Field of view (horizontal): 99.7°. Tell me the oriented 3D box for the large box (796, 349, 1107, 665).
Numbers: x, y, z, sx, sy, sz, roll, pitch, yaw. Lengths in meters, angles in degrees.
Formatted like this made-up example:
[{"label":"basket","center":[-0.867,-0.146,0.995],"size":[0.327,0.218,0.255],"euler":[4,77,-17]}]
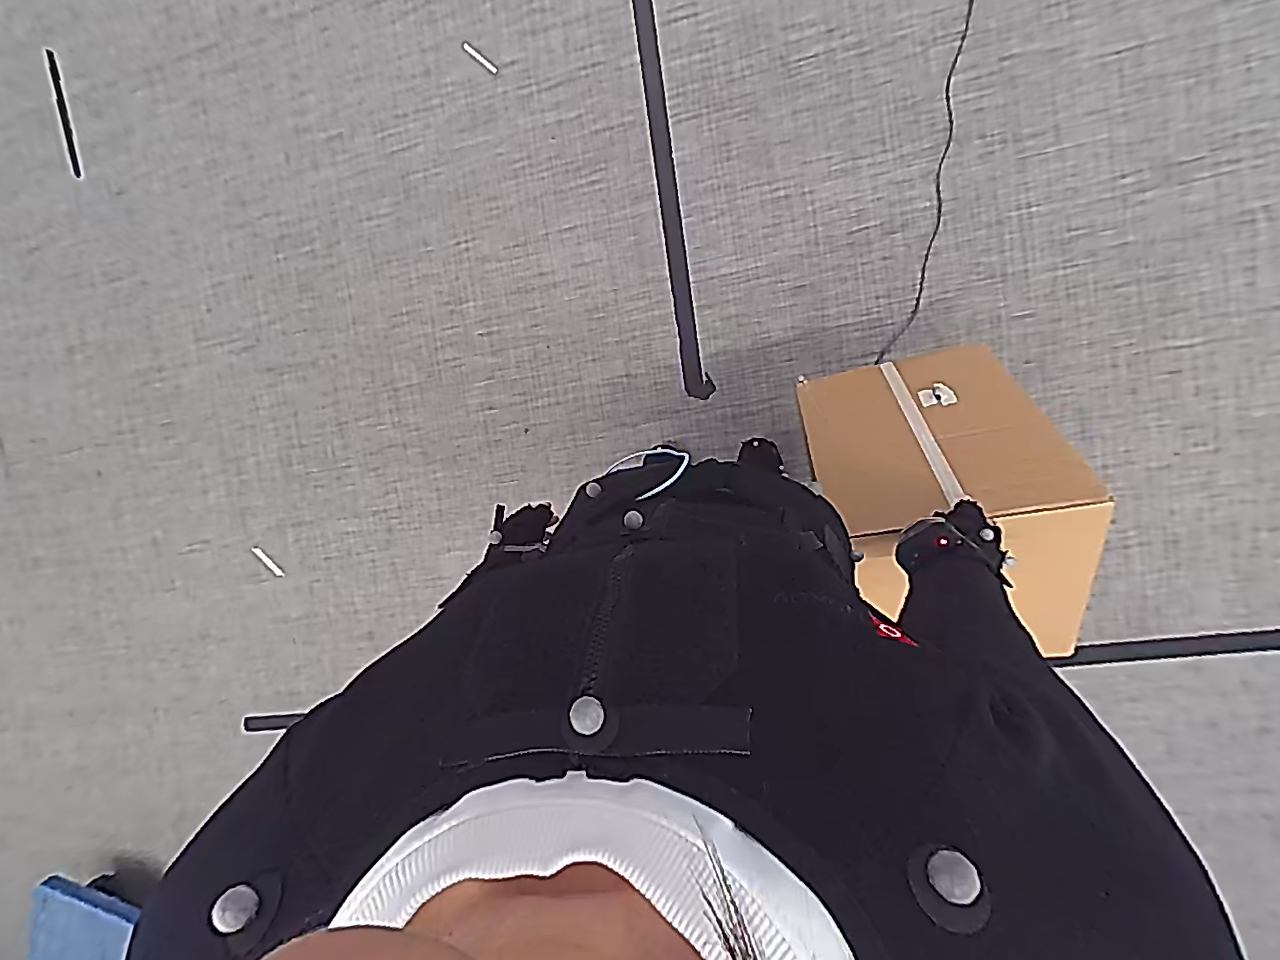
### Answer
[{"label":"large box","center":[0.466,0.039,0.904],"size":[0.320,0.408,0.320],"euler":[-10,127,15]}]
